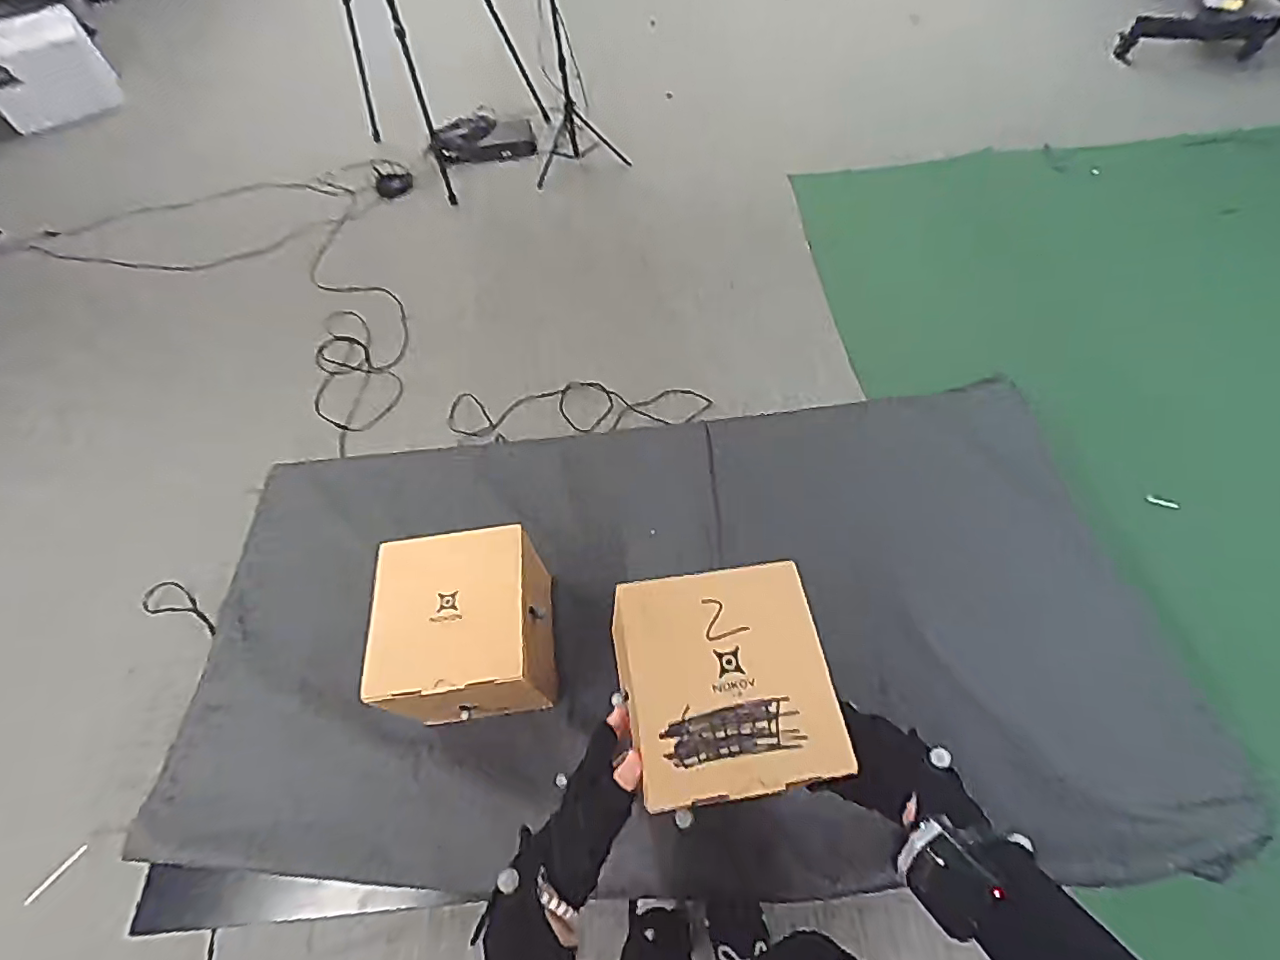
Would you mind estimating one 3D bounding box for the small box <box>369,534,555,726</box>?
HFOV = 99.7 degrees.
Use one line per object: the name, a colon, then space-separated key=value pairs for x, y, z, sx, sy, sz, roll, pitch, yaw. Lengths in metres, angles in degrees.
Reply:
small box: x=-0.201 y=0.187 z=0.660 sx=0.168 sy=0.176 sz=0.179 roll=-8 pitch=59 yaw=-1
